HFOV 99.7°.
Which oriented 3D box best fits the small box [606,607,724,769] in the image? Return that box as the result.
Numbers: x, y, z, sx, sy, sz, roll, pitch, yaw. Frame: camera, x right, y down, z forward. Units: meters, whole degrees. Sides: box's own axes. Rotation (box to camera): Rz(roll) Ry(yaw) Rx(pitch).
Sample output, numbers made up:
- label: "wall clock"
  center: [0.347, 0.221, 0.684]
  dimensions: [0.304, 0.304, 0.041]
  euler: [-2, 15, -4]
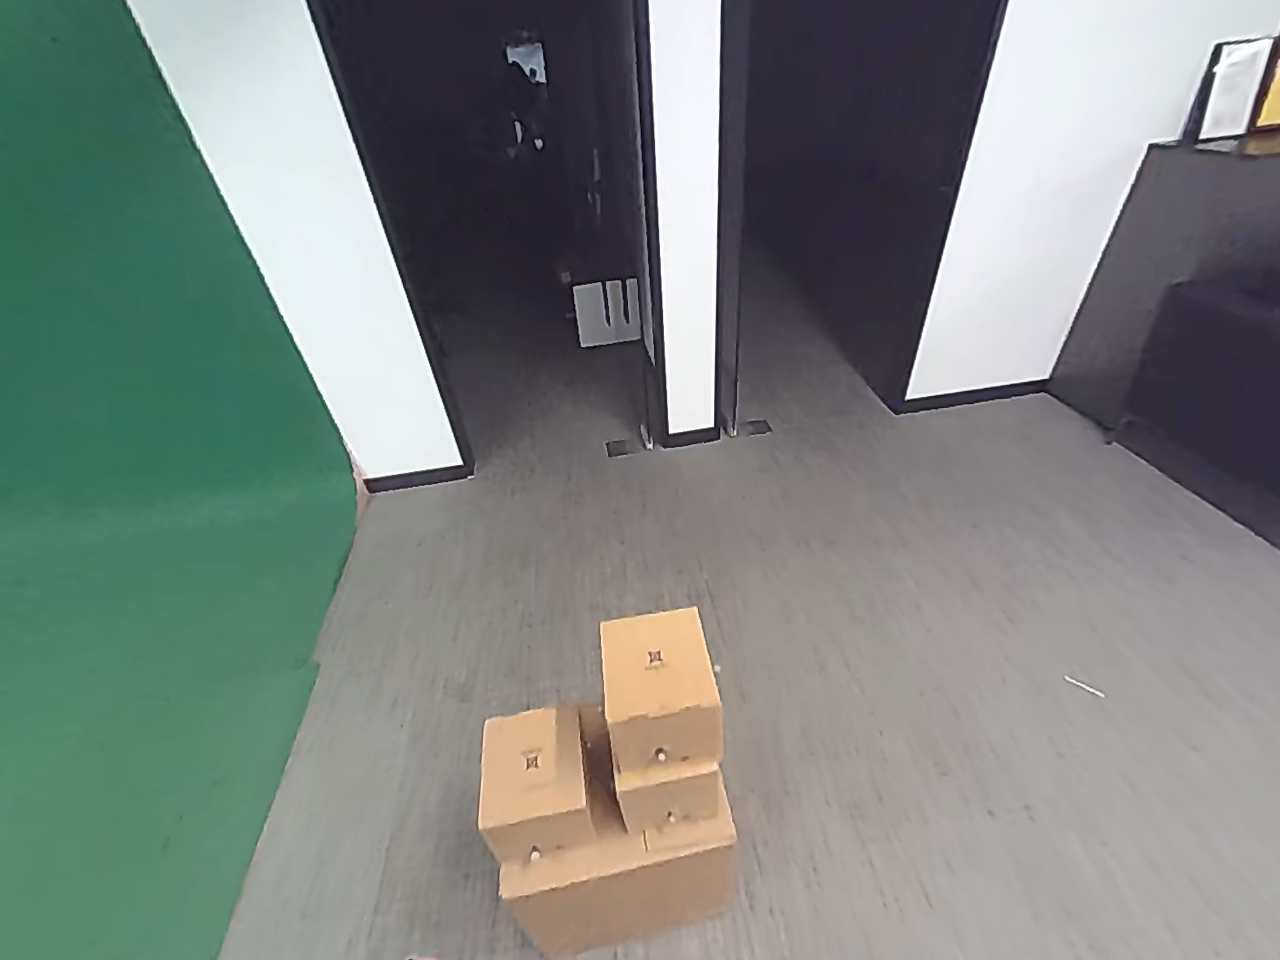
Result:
- label: "small box"
  center: [0.037, 0.337, 0.883]
  dimensions: [0.168, 0.176, 0.179]
  euler: [-8, 38, -2]
